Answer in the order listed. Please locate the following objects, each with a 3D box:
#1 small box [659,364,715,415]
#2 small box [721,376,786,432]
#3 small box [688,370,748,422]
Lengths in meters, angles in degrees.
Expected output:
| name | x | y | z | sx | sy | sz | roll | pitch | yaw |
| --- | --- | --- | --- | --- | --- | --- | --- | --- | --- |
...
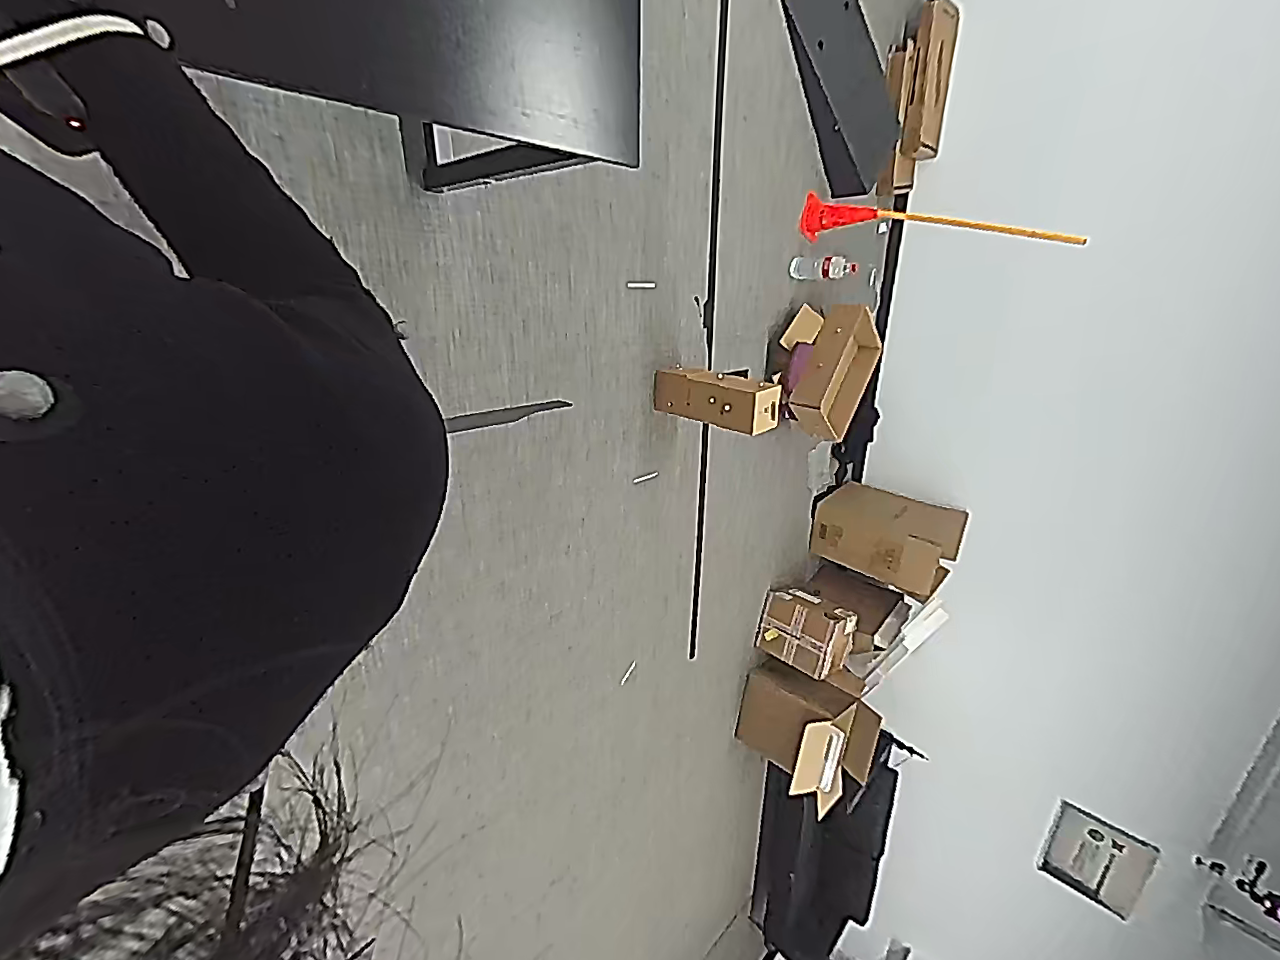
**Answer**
| name | x | y | z | sx | sy | sz | roll | pitch | yaw |
| --- | --- | --- | --- | --- | --- | --- | --- | --- | --- |
| small box | 0.195 | -0.385 | 2.269 | 0.168 | 0.176 | 0.179 | -20 | 118 | -43 |
| small box | 0.430 | -0.294 | 2.058 | 0.179 | 0.176 | 0.168 | -21 | 120 | -41 |
| small box | 0.311 | -0.341 | 2.163 | 0.179 | 0.176 | 0.168 | -23 | 121 | -42 |
